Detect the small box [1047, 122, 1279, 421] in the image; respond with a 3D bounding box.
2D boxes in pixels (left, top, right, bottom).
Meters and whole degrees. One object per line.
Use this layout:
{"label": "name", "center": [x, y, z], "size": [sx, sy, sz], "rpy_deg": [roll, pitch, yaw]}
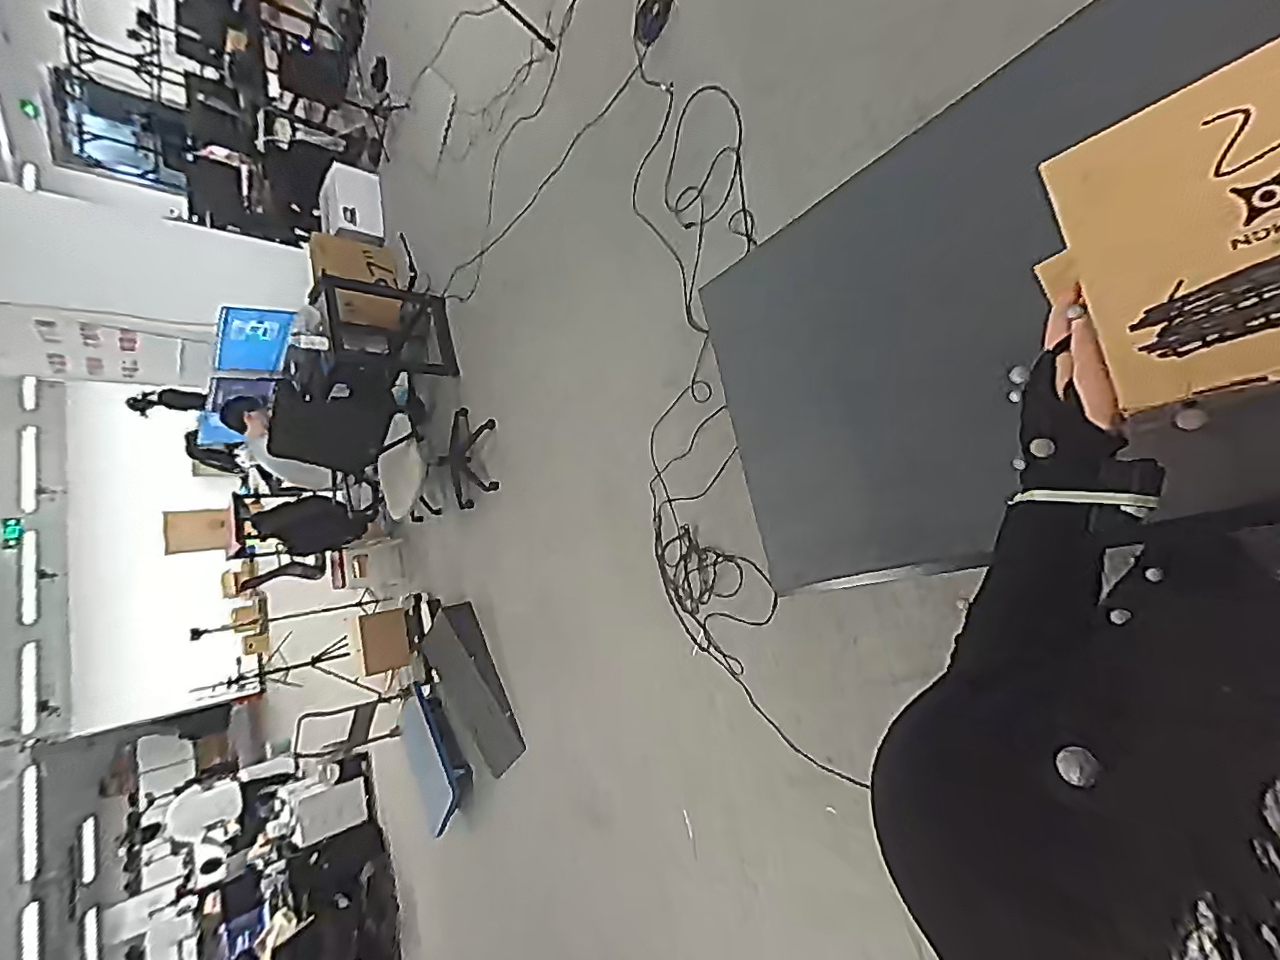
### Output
{"label": "small box", "center": [0.516, -0.166, 0.494], "size": [0.168, 0.176, 0.179], "rpy_deg": [-30, 70, 45]}
